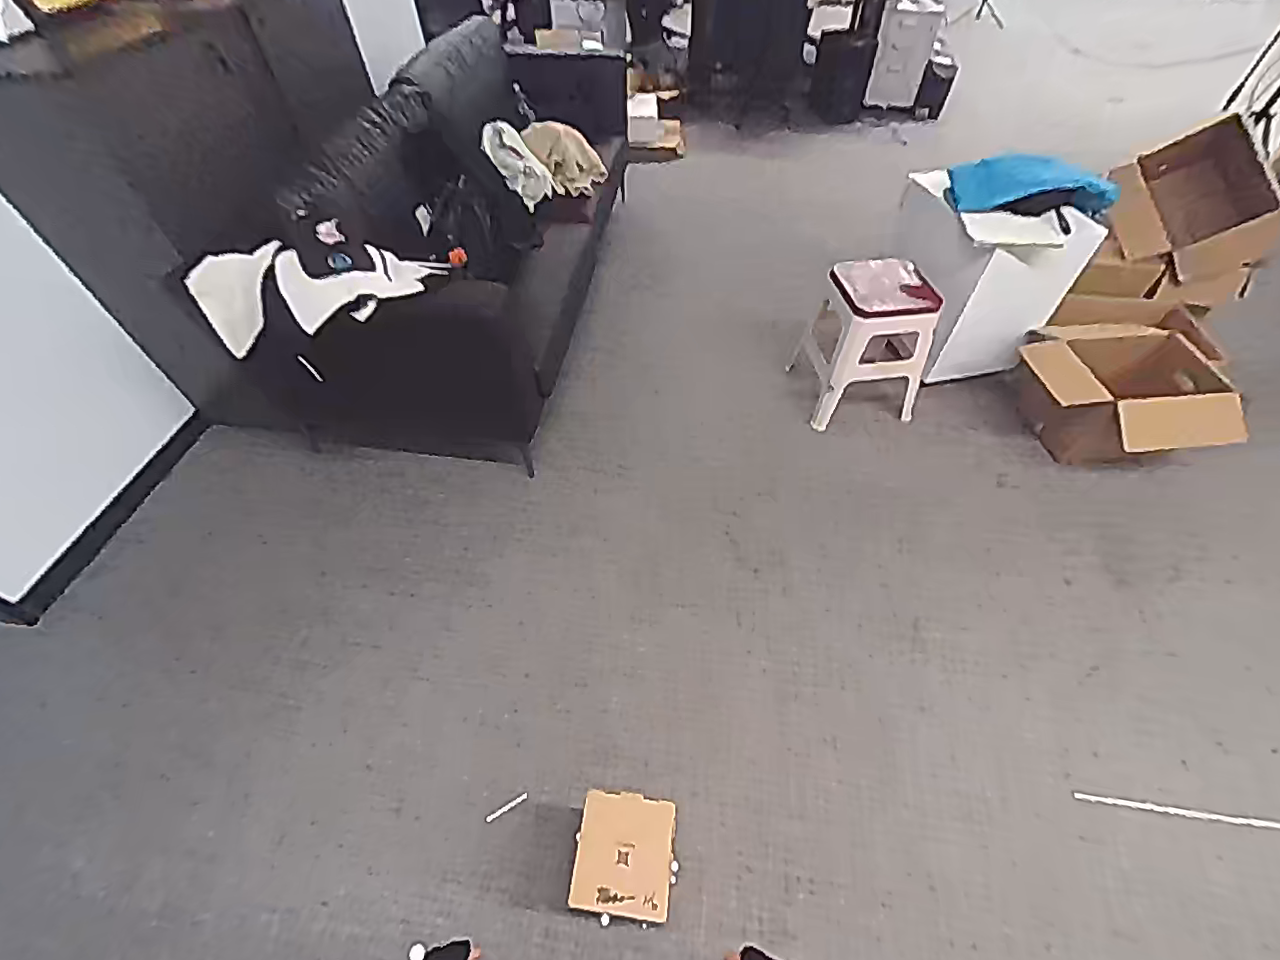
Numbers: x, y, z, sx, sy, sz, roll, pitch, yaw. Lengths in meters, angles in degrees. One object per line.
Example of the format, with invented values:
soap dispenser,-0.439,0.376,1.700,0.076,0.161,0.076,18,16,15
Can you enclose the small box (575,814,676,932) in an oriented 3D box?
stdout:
small box,-0.023,0.813,1.115,0.179,0.176,0.168,7,50,6
